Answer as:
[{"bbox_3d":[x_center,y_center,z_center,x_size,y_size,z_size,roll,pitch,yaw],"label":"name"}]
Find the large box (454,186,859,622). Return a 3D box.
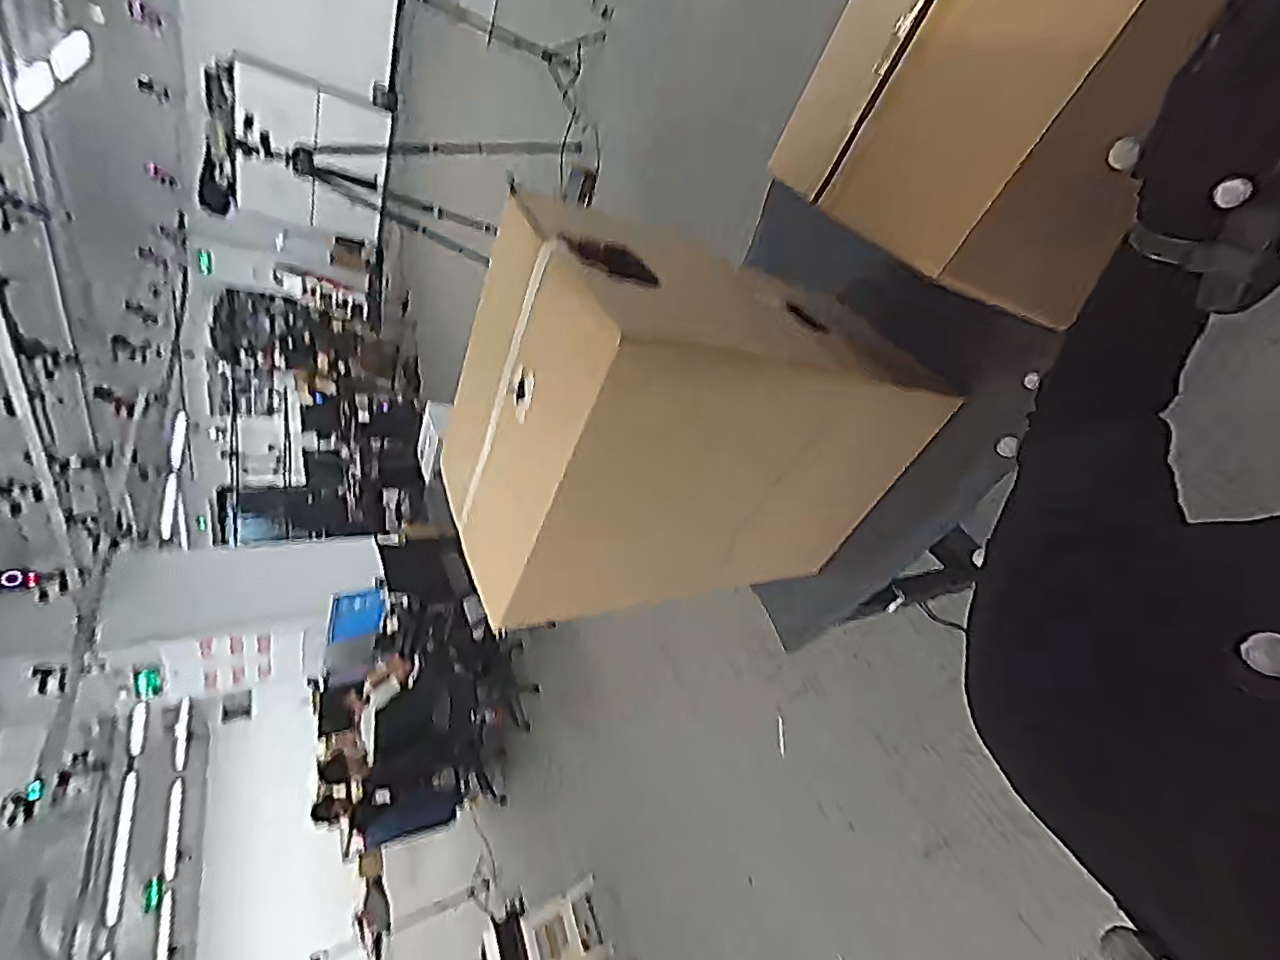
[{"bbox_3d":[-0.016,-0.077,0.700,0.320,0.320,0.408,57,133,36],"label":"large box"}]
